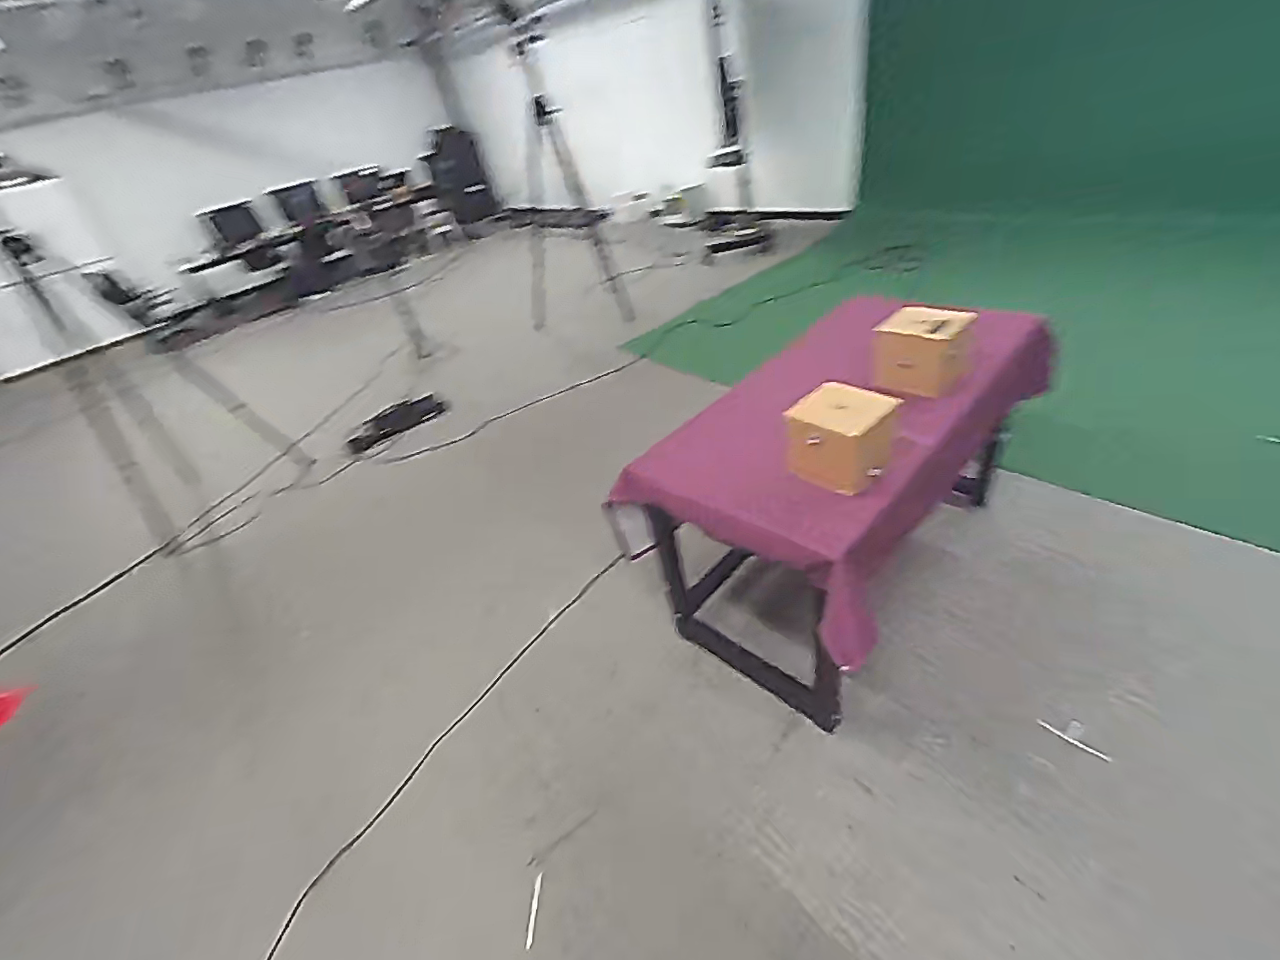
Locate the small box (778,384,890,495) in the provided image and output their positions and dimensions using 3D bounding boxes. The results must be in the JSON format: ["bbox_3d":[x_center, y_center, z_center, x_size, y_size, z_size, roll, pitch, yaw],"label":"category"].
[{"bbox_3d":[0.435,-0.092,1.218,0.168,0.176,0.179,-35,41,-25],"label":"small box"}]
